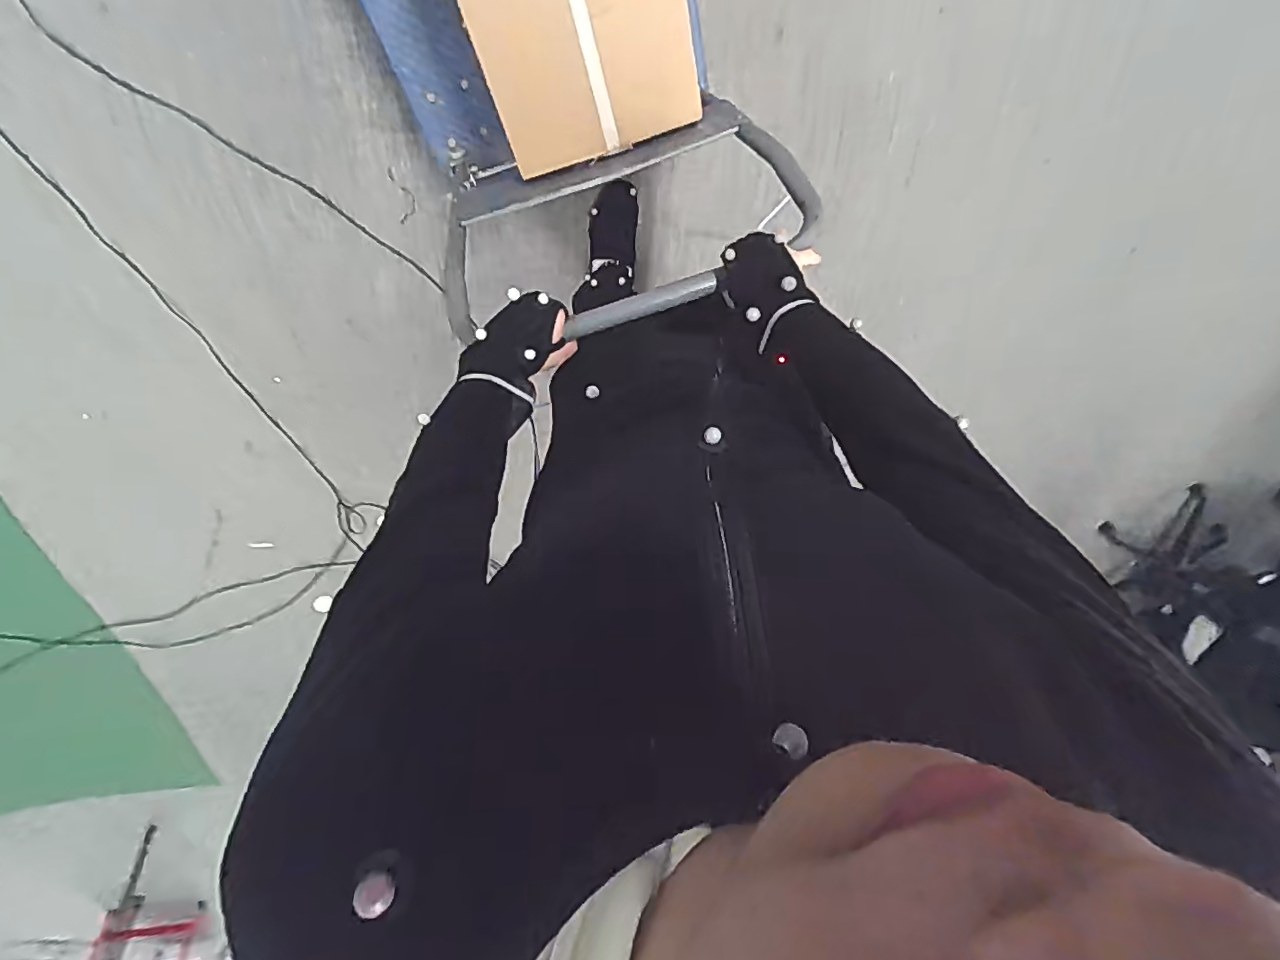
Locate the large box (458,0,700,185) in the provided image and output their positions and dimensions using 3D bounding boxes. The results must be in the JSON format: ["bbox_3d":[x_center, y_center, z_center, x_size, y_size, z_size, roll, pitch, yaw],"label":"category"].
[{"bbox_3d":[-0.117,-0.777,0.887,0.320,0.320,0.408,-18,132,2],"label":"large box"}]
